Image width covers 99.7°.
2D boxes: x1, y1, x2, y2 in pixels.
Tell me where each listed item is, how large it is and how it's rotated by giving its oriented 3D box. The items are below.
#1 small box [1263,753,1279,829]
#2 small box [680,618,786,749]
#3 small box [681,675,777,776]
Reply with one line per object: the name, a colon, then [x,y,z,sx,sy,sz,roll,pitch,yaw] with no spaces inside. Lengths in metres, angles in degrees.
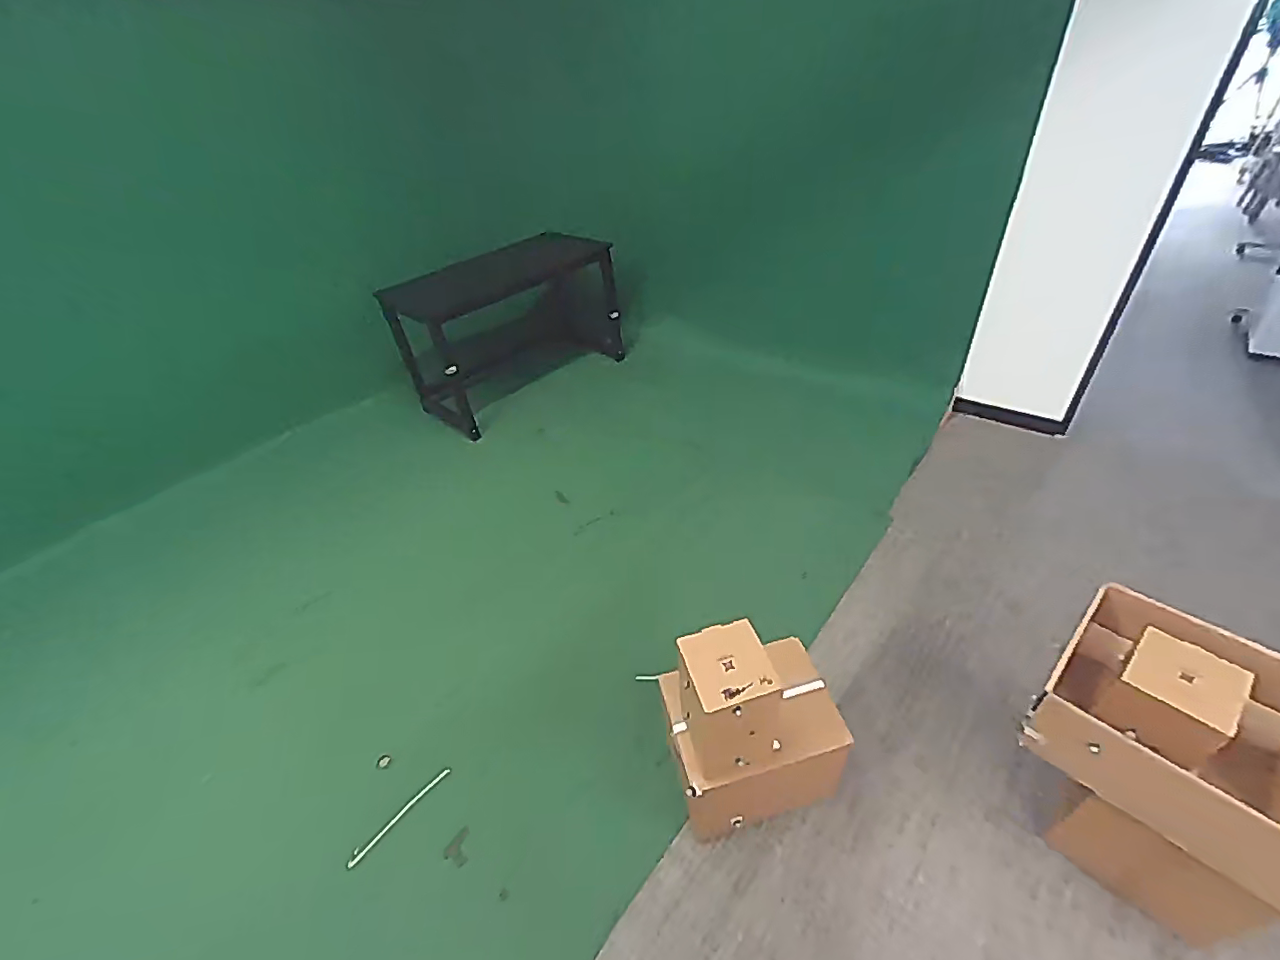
small box: [1.243,0.550,0.929,0.179,0.176,0.168,-34,46,-27]
small box: [0.188,0.427,1.140,0.168,0.176,0.179,-14,40,-9]
small box: [0.199,0.546,1.252,0.168,0.176,0.179,-13,41,-8]
